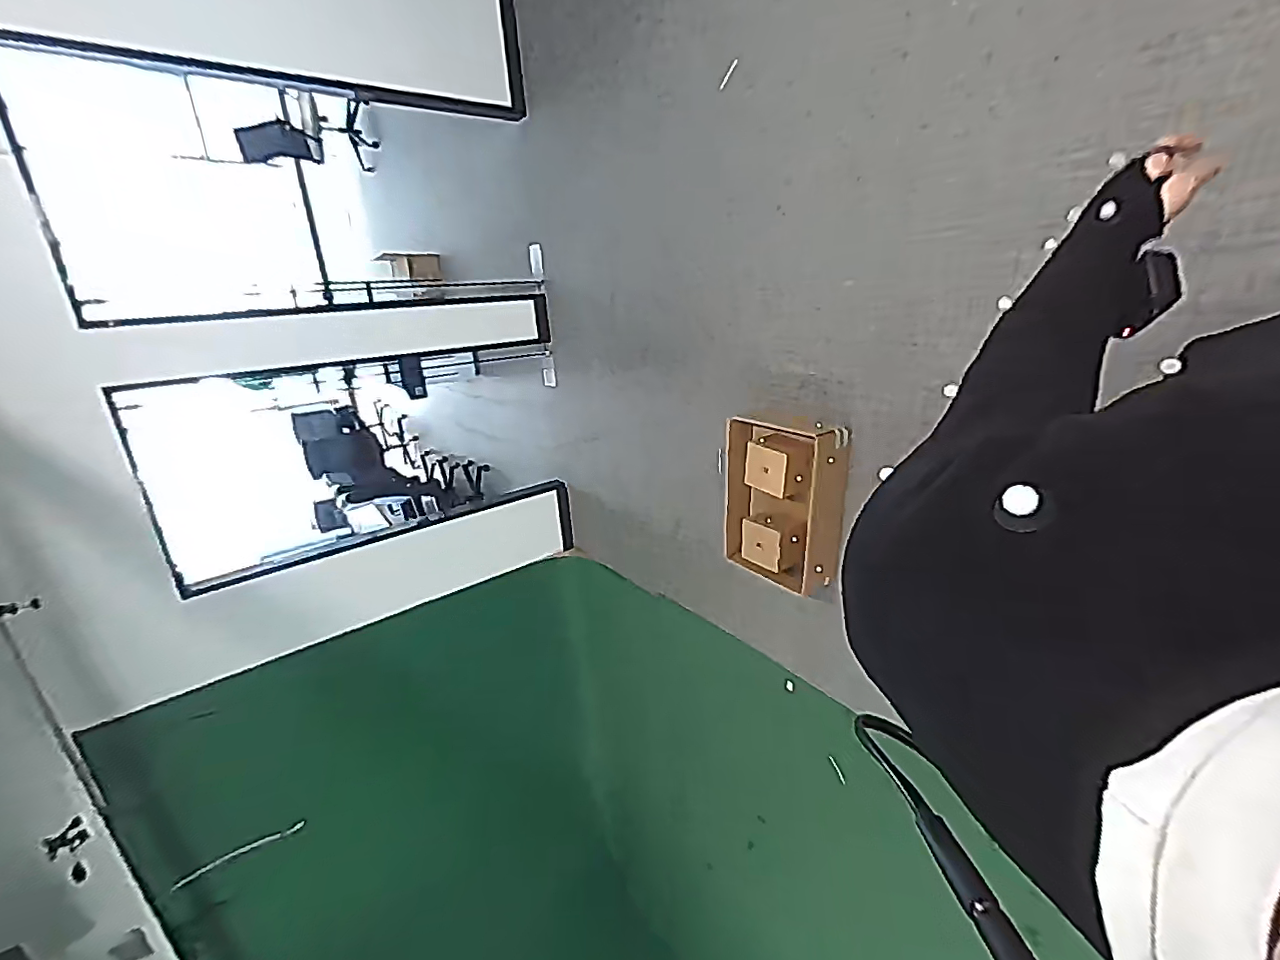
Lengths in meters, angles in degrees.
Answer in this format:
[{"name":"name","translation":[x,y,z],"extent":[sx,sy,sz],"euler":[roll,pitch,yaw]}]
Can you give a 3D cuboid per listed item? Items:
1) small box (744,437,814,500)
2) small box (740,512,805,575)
[{"name":"small box","translation":[0.502,-0.048,1.947],"extent":[0.179,0.176,0.168],"euler":[27,125,47]},{"name":"small box","translation":[0.503,0.233,2.054],"extent":[0.179,0.176,0.168],"euler":[23,120,49]}]
